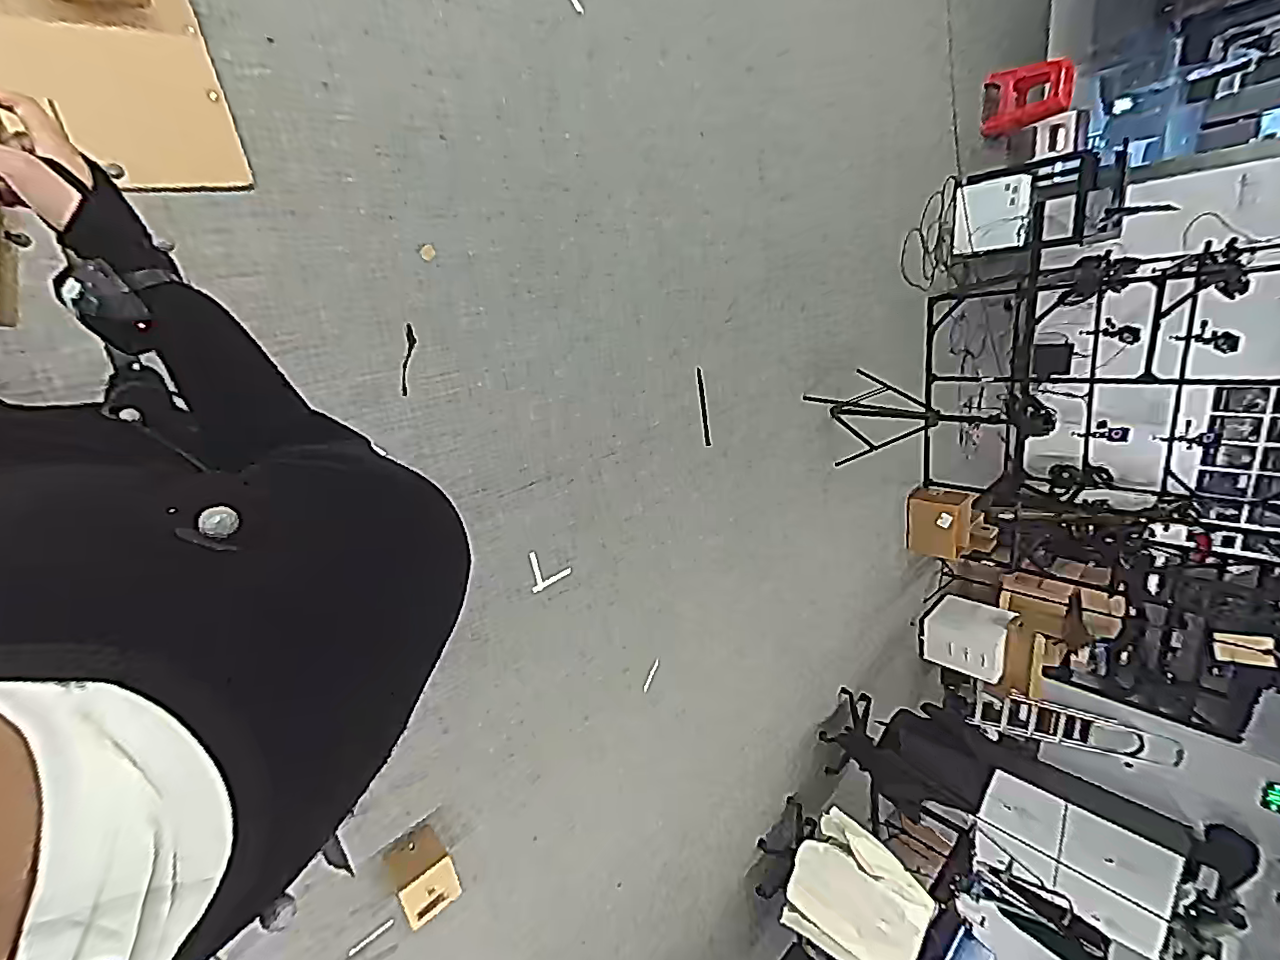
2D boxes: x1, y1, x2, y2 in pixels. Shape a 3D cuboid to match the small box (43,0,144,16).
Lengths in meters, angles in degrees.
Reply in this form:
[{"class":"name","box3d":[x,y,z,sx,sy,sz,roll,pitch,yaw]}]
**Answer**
[{"class":"small box","box3d":[-1.053,-1.005,0.989,0.168,0.176,0.179,-29,116,-35]}]
